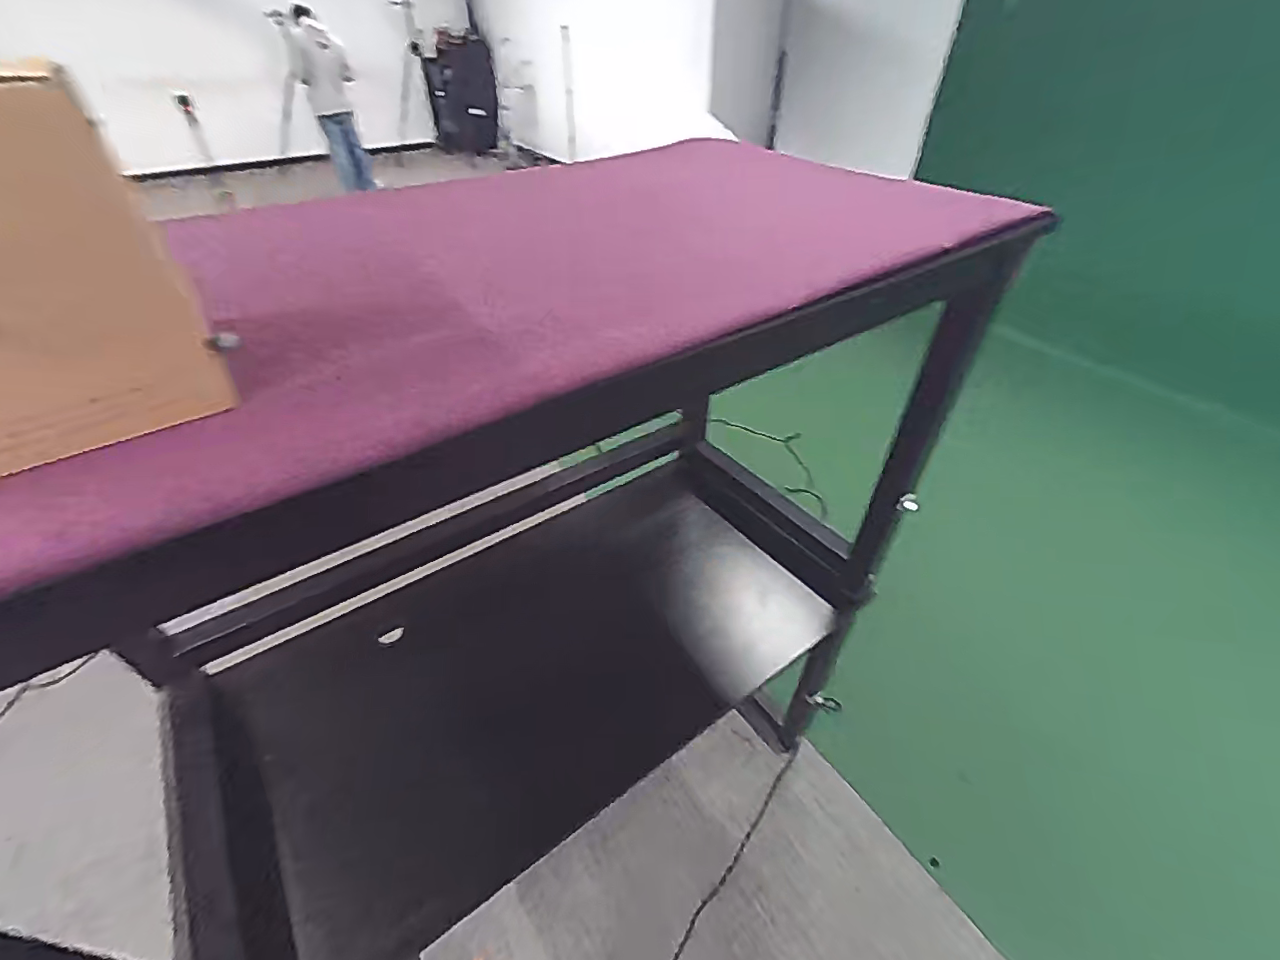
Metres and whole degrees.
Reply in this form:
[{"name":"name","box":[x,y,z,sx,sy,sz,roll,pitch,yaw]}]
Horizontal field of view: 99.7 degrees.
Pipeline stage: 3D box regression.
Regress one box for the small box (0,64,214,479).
[{"name":"small box","box":[-0.368,-0.109,0.290,0.179,0.176,0.168,-28,47,-27]}]
